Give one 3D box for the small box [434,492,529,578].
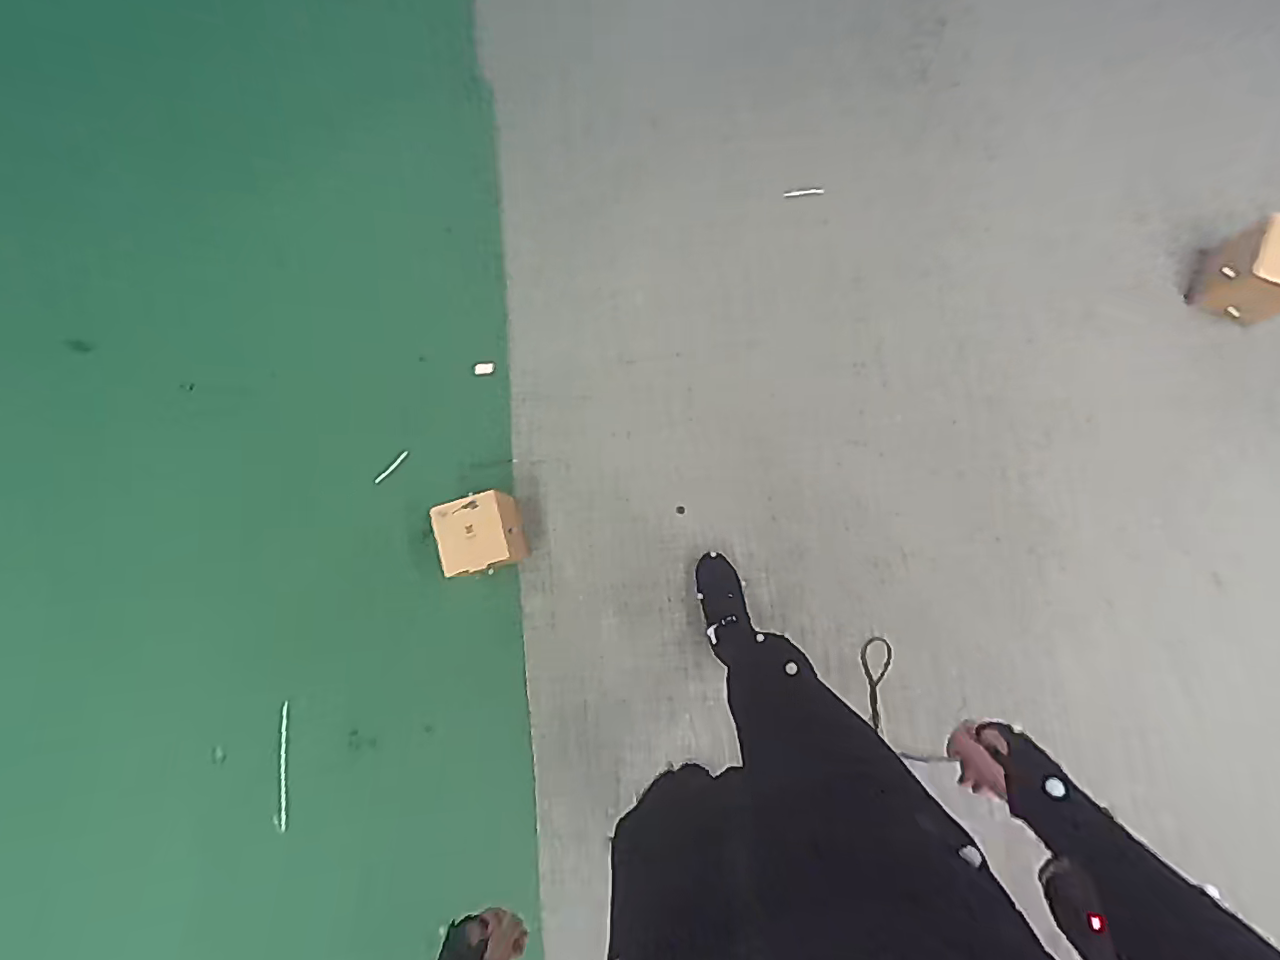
[{"bbox_3d":[-0.397,0.140,1.381,0.168,0.176,0.179,-16,82,1],"label":"small box"}]
